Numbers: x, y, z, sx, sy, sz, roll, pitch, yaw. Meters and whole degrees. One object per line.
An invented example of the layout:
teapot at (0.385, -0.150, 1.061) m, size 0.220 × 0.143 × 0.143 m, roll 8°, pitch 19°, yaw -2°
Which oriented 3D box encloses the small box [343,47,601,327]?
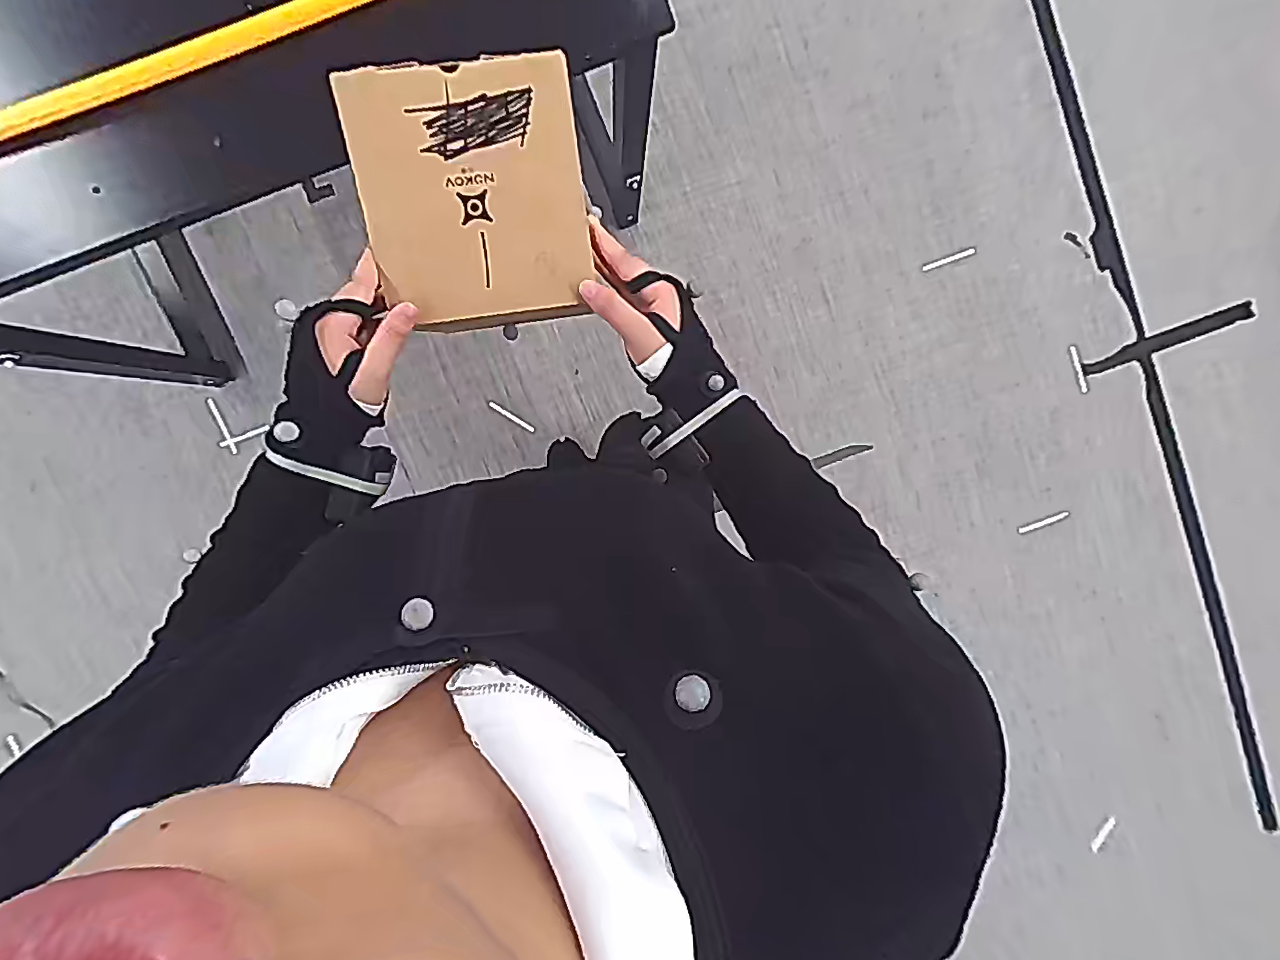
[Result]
small box at (-0.130, -0.239, 0.485) m, size 0.168 × 0.176 × 0.179 m, roll -8°, pitch 105°, yaw -3°
